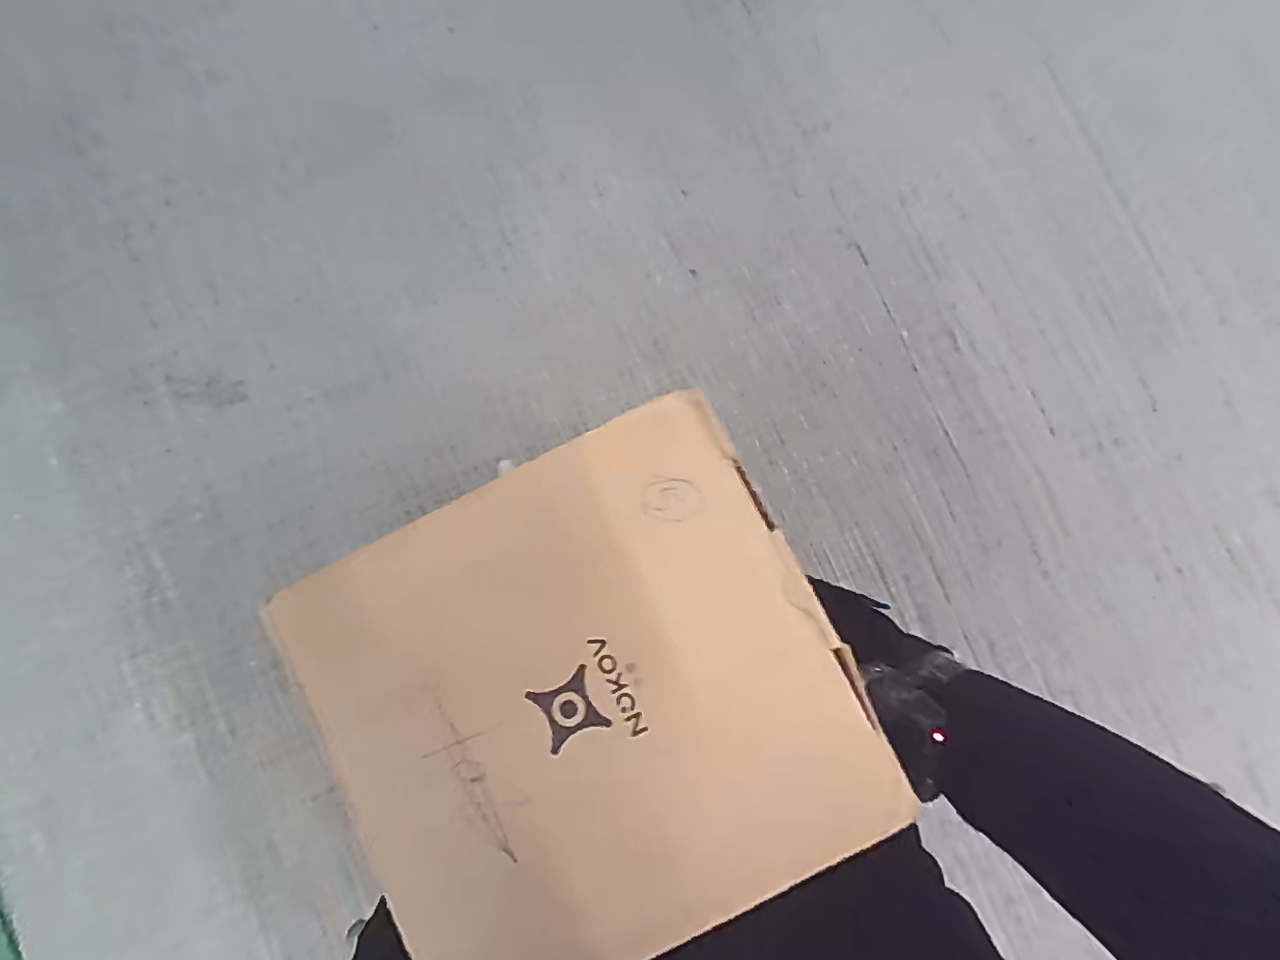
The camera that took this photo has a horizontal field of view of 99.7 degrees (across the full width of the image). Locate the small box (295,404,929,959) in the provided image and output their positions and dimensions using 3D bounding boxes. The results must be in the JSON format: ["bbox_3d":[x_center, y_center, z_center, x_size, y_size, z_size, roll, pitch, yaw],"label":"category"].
[{"bbox_3d":[-0.009,0.085,0.266,0.179,0.176,0.168,-28,83,4],"label":"small box"}]
